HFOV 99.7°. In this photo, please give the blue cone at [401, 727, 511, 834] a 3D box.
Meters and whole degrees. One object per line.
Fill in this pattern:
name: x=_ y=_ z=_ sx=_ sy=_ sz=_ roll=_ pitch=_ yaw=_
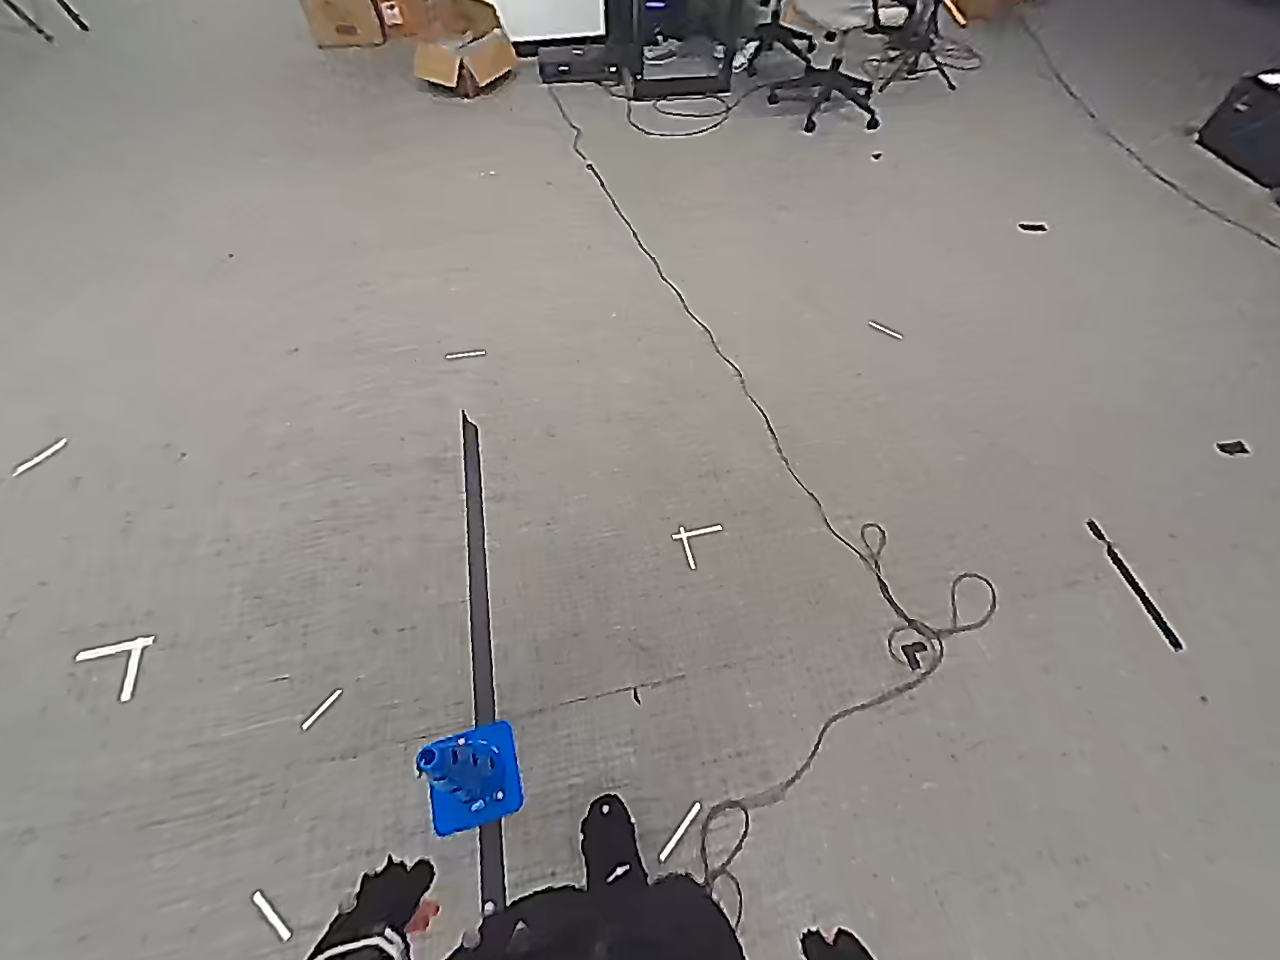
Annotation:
blue cone: x=-0.397 y=0.595 z=1.108 sx=0.192 sy=0.380 sz=0.193 roll=-12 pitch=58 yaw=-9
